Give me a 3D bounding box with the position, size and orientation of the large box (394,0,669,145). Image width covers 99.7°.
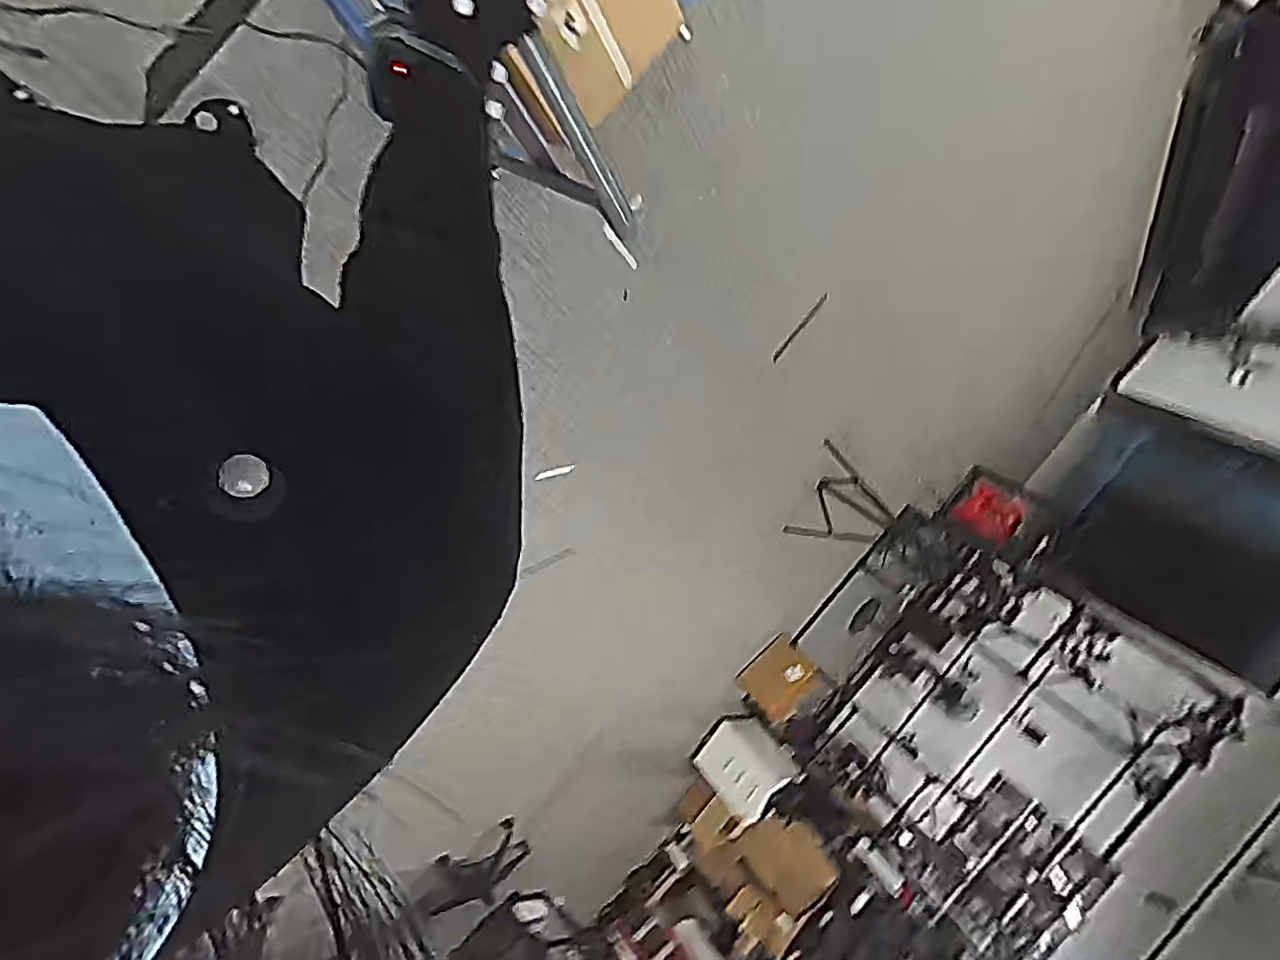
[{"bbox_3d":[-0.226,-0.875,0.923,0.320,0.320,0.408,-48,140,-1],"label":"large box"}]
